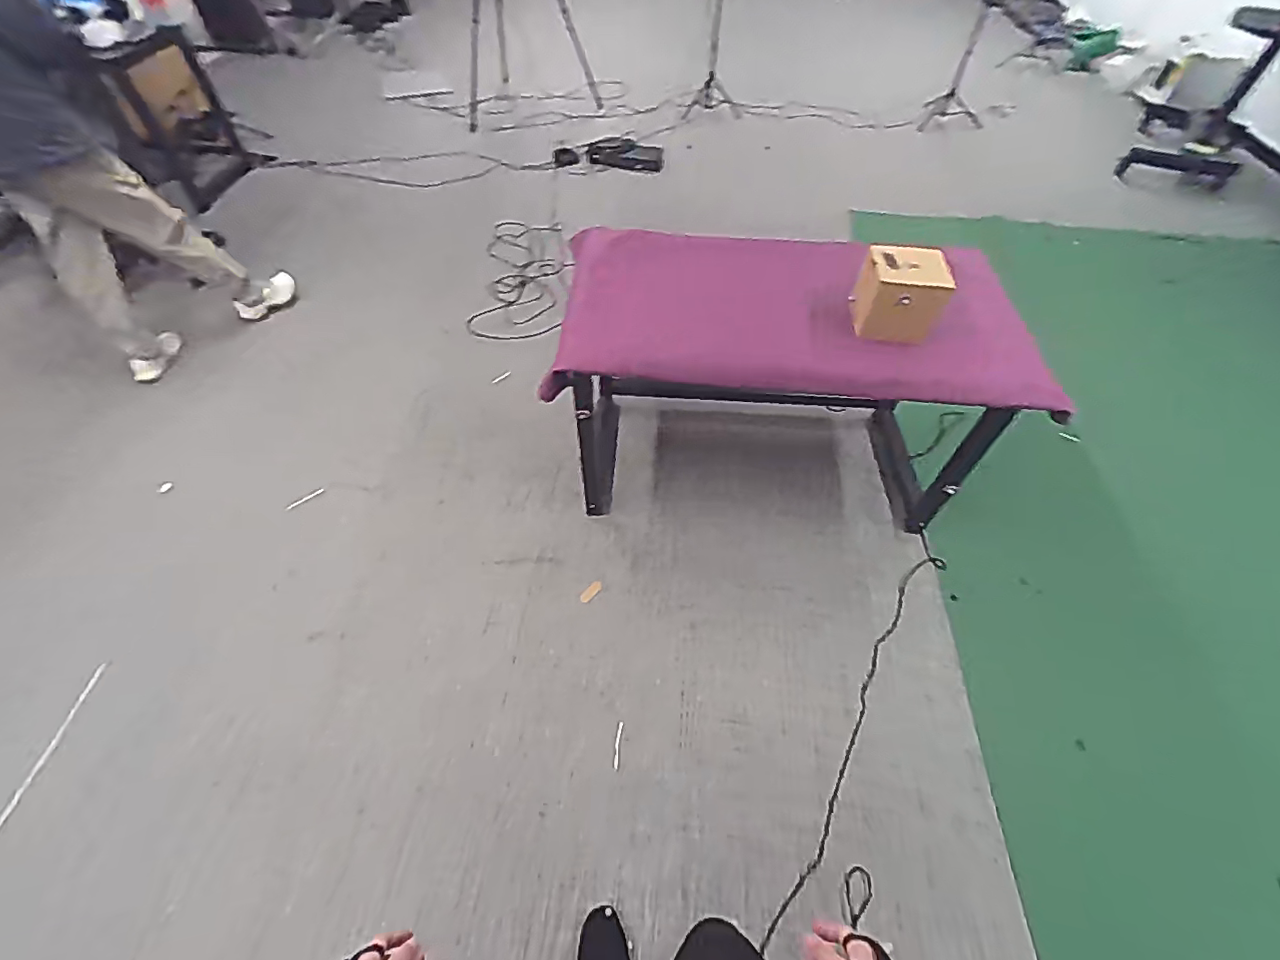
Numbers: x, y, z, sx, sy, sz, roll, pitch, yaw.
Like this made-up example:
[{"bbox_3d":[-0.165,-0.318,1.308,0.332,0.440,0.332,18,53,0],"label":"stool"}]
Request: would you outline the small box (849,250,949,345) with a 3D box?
[{"bbox_3d":[0.647,-0.464,1.382,0.179,0.176,0.168,6,53,3],"label":"small box"}]
